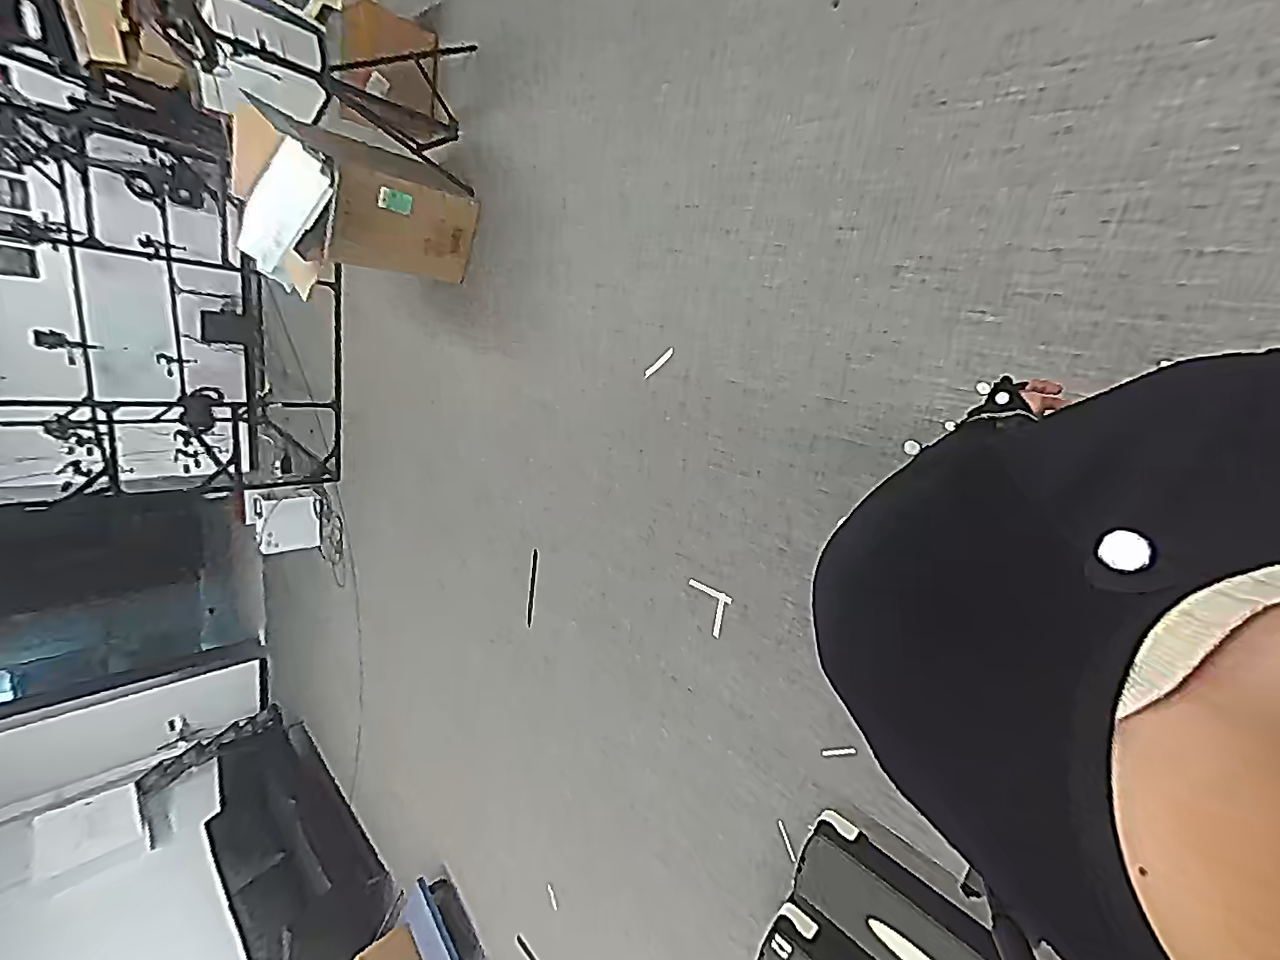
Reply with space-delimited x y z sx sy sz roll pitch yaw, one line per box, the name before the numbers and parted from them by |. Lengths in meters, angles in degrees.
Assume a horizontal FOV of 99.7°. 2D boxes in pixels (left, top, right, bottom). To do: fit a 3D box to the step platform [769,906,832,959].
step platform | 0.630 1.508 1.376 0.684 0.204 0.286 29 113 40
